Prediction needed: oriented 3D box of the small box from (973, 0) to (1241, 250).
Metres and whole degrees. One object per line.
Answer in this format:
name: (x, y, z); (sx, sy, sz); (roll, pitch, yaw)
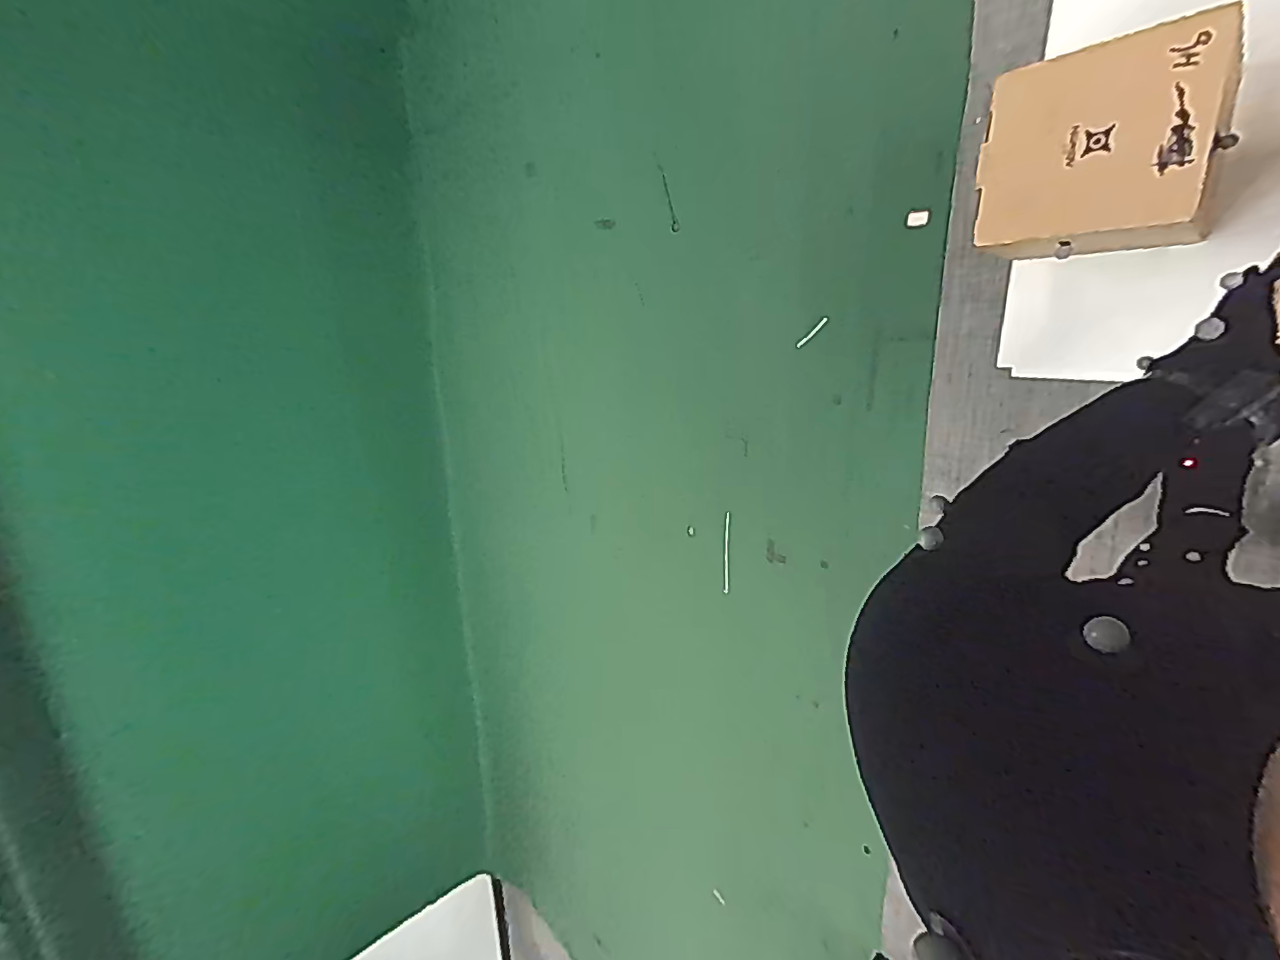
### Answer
small box: (0.484, -0.345, 0.568); (0.179, 0.176, 0.168); (14, 111, 45)
